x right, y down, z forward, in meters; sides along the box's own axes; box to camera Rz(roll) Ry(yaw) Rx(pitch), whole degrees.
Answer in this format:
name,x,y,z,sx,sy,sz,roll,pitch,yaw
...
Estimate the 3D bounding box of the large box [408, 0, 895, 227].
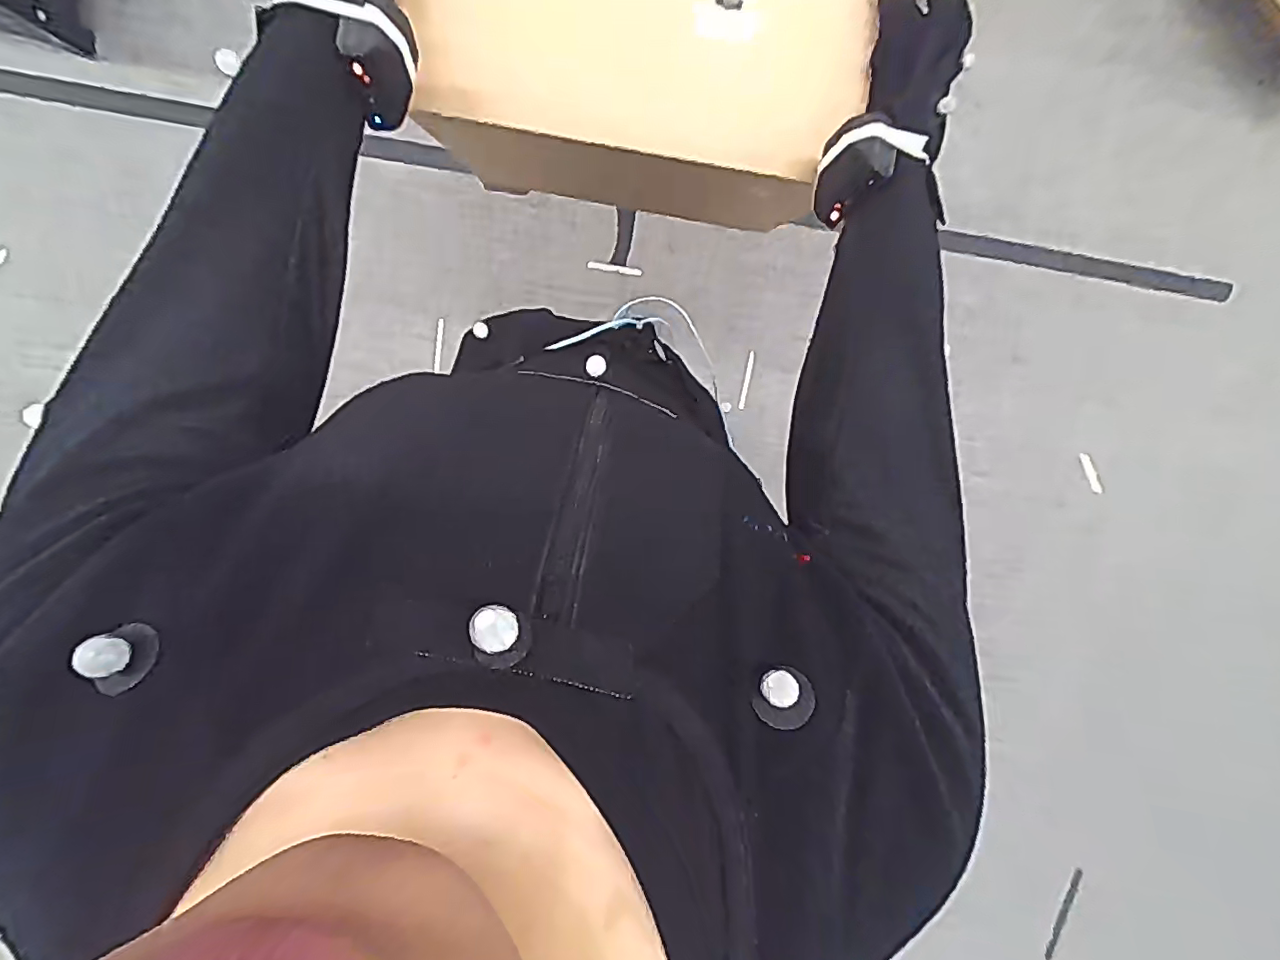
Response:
name,x,y,z,sx,sy,sz,roll,pitch,yaw
large box,0.013,-0.483,0.572,0.408,0.320,0.320,8,109,-5
